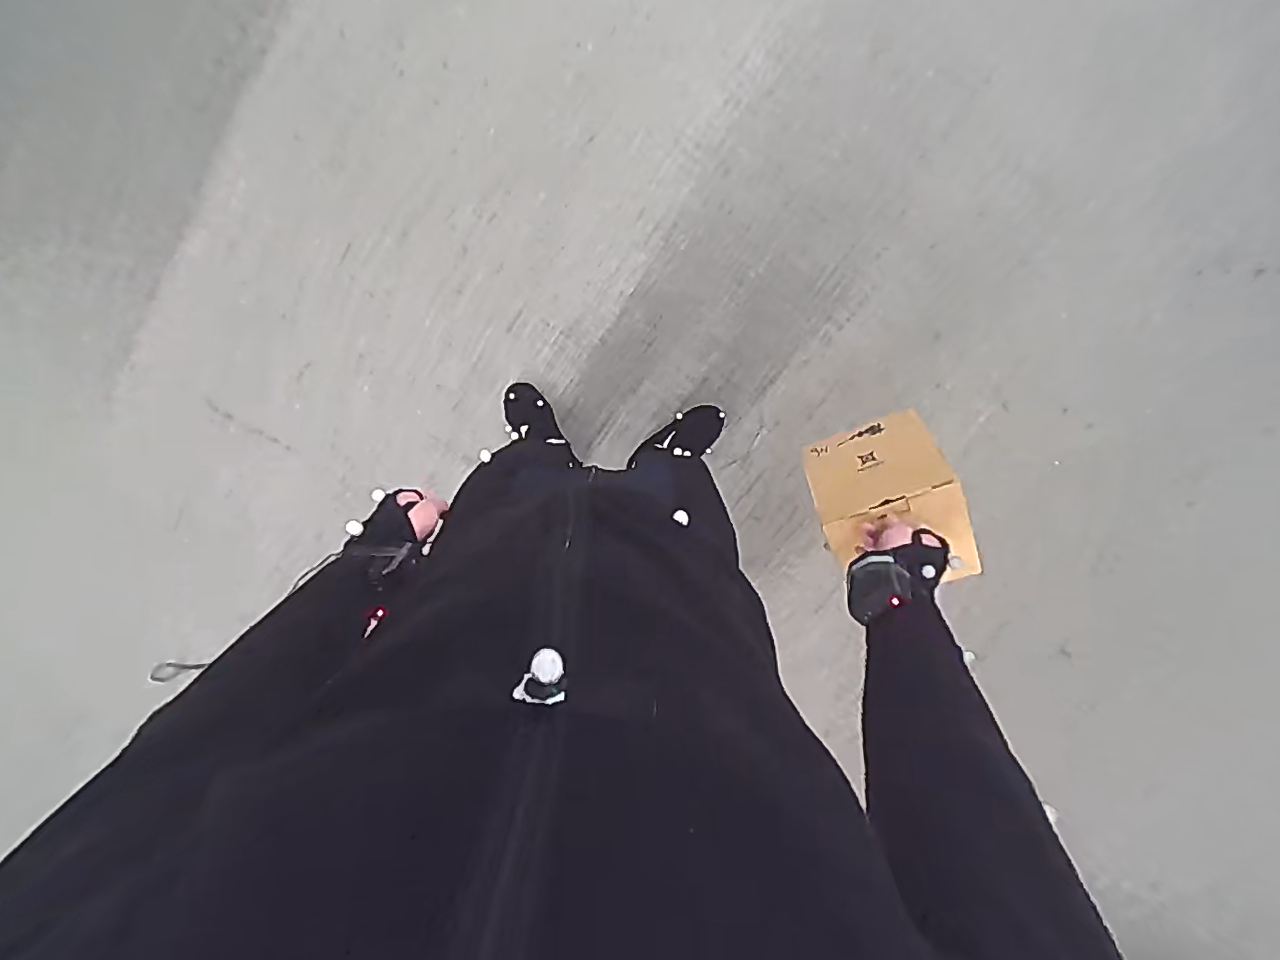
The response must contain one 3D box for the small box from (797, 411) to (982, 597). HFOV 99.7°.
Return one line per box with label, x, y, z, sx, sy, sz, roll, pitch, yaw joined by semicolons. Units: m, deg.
small box;0.346;0.041;0.760;0.168;0.179;0.176;-26;121;19
